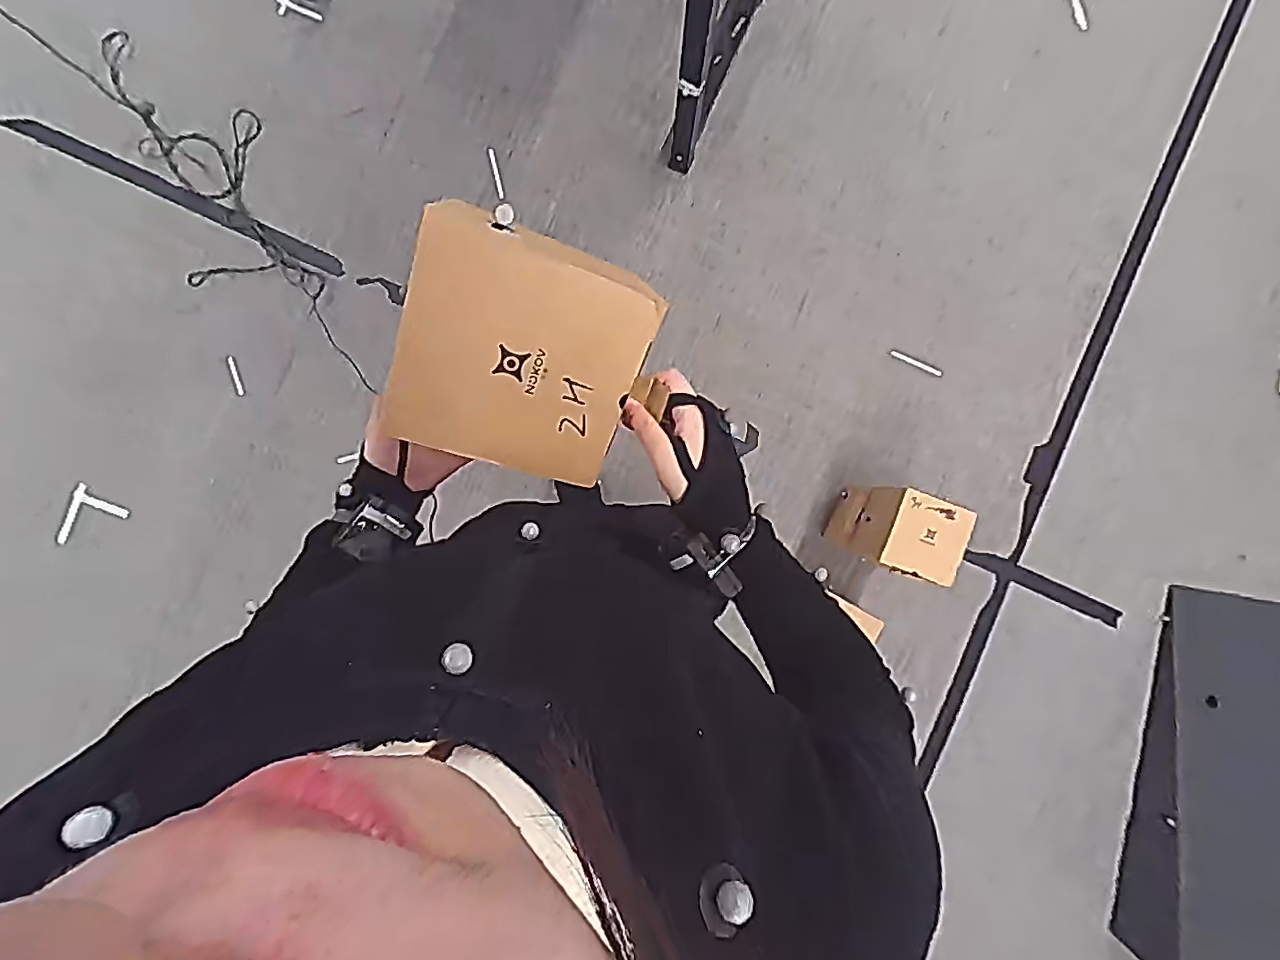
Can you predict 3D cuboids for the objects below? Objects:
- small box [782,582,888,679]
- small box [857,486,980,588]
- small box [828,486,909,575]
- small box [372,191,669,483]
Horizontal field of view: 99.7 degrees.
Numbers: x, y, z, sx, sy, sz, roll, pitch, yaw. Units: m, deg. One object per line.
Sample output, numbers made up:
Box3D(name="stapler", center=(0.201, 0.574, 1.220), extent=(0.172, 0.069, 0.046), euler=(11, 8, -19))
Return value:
Box3D(name="small box", center=(0.494, 0.379, 1.404), extent=(0.179, 0.176, 0.168), euler=(29, 91, -1))
Box3D(name="small box", center=(0.623, 0.122, 1.237), extent=(0.168, 0.176, 0.179), euler=(21, 91, -1))
Box3D(name="small box", center=(0.618, 0.125, 1.402), extent=(0.179, 0.176, 0.168), euler=(26, 90, -1))
Box3D(name="small box", center=(-0.102, -0.124, 0.461), extent=(0.179, 0.176, 0.168), euler=(15, 114, -20))
